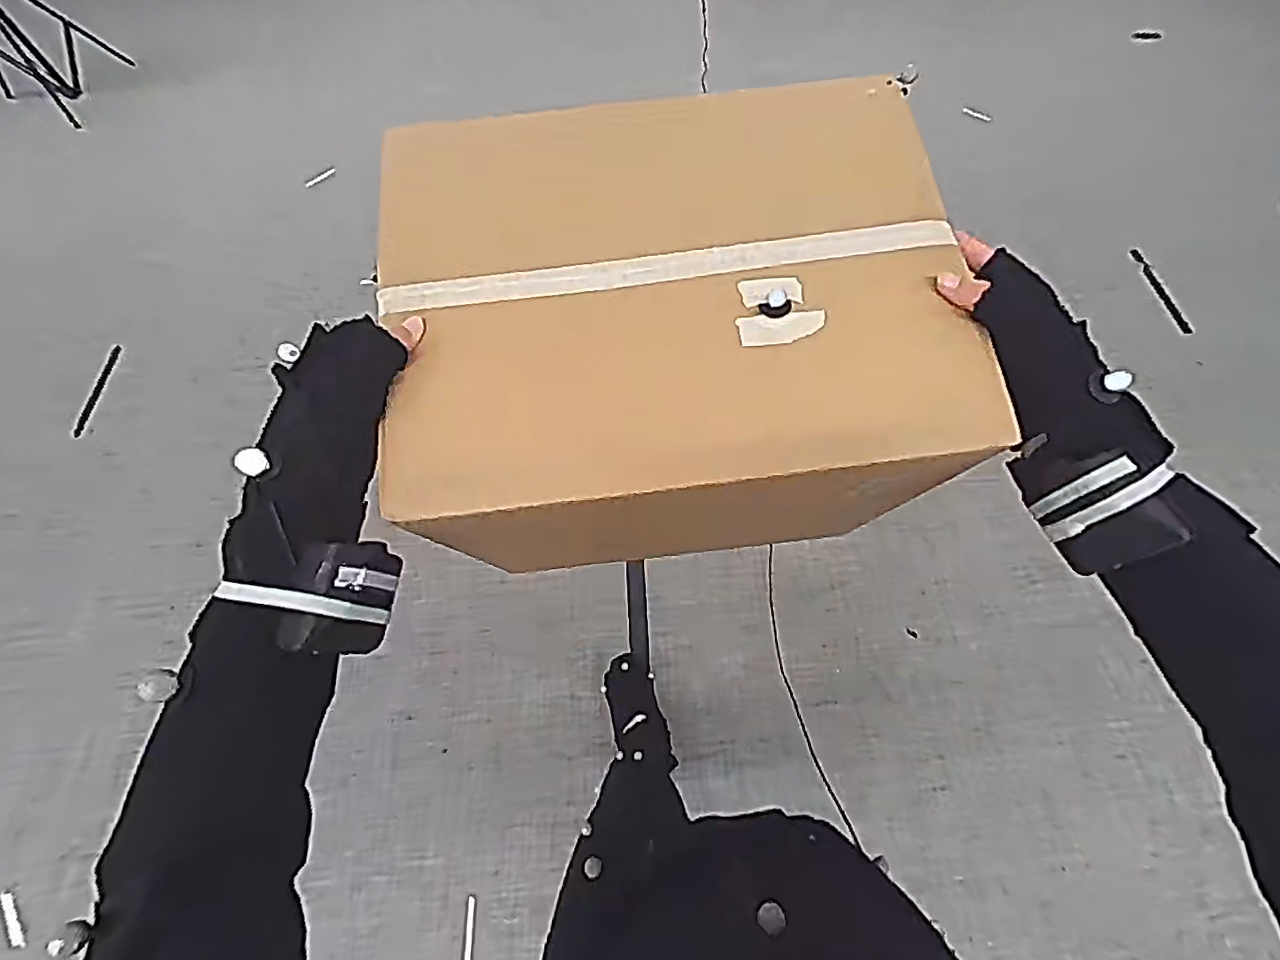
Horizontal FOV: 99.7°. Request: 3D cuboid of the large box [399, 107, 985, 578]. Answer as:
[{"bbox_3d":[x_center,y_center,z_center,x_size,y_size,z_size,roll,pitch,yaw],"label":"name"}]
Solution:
[{"bbox_3d":[0.021,-0.097,0.545,0.408,0.320,0.320,-8,74,-1],"label":"large box"}]
